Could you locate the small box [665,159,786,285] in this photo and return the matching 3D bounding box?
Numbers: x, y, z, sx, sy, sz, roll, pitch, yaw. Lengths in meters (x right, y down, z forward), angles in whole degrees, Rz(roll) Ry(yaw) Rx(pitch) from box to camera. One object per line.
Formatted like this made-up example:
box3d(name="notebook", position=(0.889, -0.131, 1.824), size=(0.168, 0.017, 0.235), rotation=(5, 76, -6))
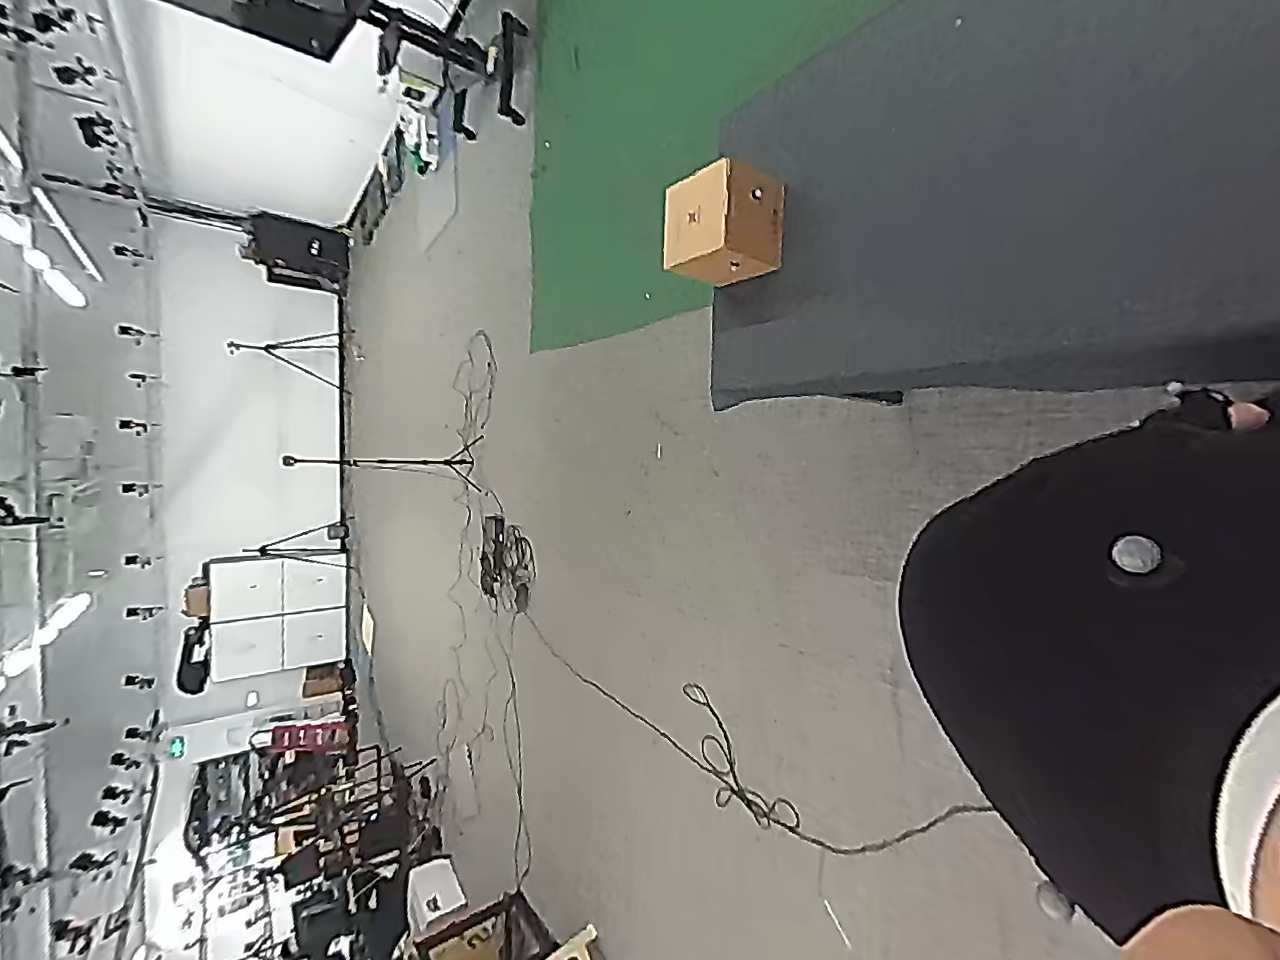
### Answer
box3d(name="small box", position=(0.174, -0.508, 1.094), size=(0.179, 0.176, 0.168), rotation=(9, 95, 52))
